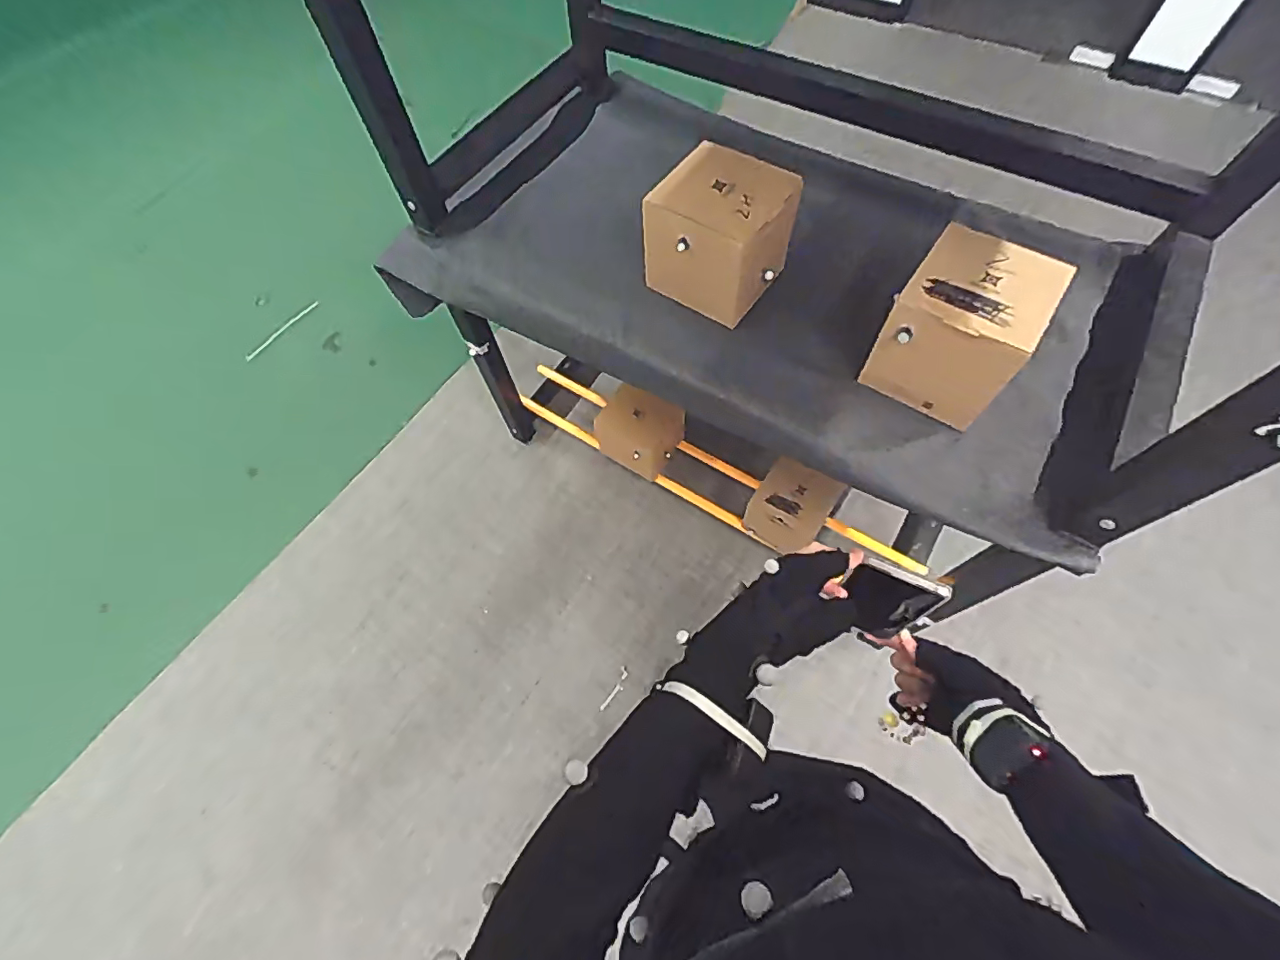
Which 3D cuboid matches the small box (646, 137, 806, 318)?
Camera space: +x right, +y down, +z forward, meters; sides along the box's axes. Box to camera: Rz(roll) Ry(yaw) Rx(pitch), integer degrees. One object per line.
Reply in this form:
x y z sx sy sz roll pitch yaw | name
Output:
0.127 -0.387 0.846 0.179 0.176 0.168 33 70 17 | small box

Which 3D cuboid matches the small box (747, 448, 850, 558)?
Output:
0.373 0.061 1.306 0.168 0.176 0.179 33 70 17 | small box
